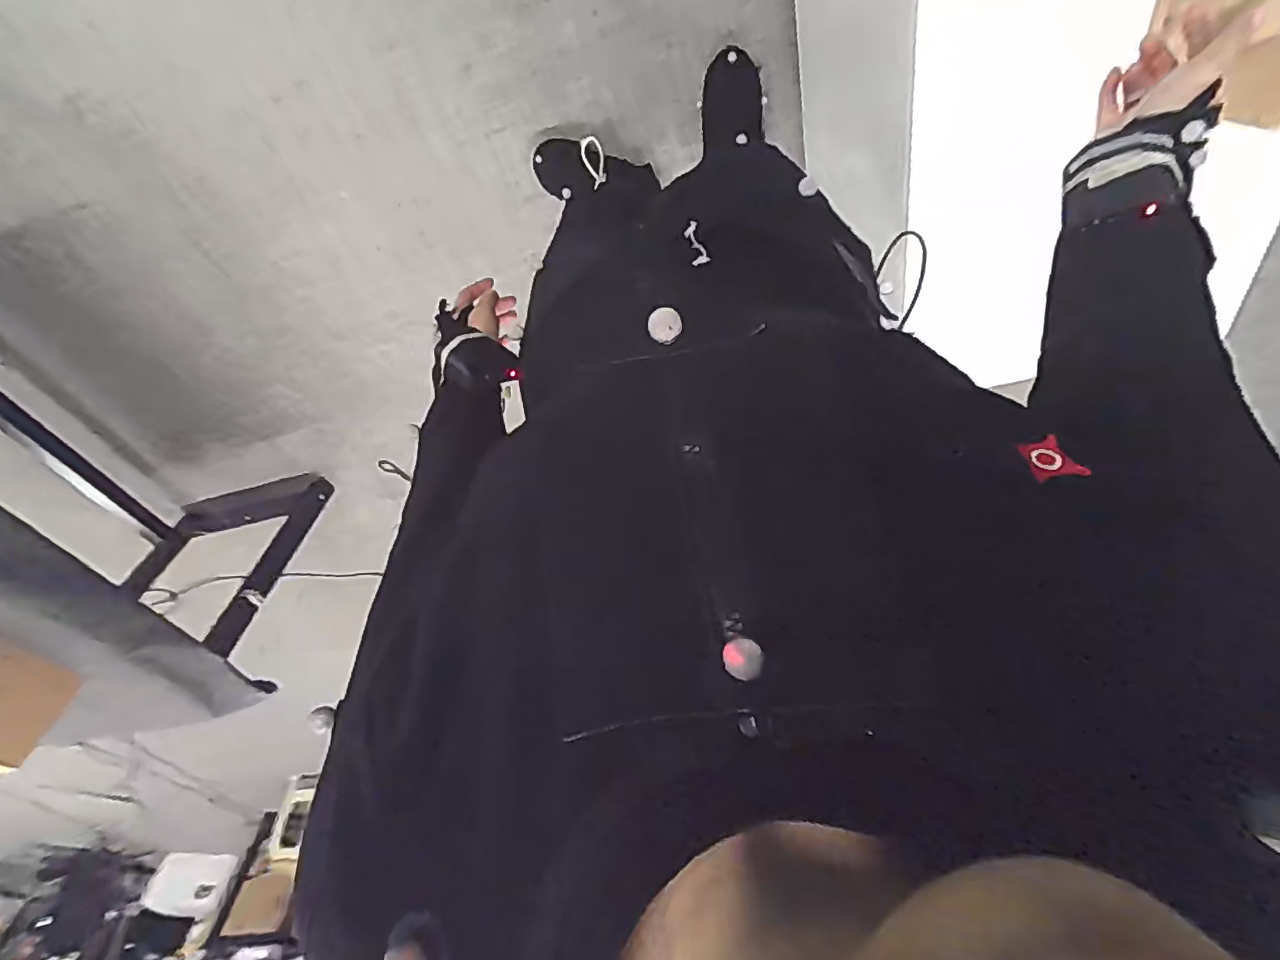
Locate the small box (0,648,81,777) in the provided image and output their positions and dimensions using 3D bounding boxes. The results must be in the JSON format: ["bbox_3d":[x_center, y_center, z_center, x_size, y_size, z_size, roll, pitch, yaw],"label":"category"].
[{"bbox_3d":[-1.177,0.409,0.949,0.168,0.176,0.179,-15,130,15],"label":"small box"}]

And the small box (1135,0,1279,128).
[{"bbox_3d":[0.540,-0.393,0.399,0.179,0.176,0.168,-10,131,11],"label":"small box"}]
